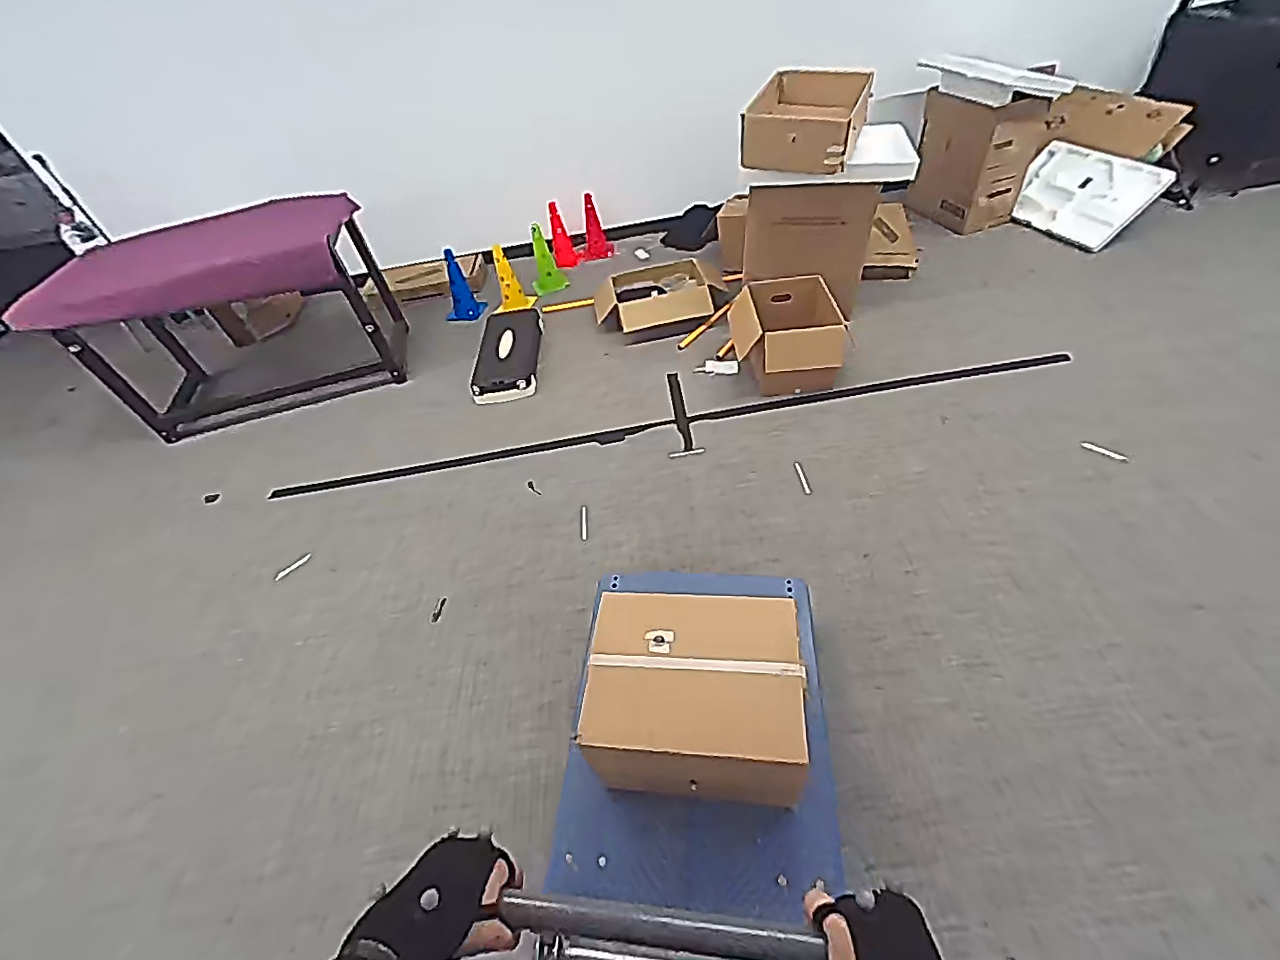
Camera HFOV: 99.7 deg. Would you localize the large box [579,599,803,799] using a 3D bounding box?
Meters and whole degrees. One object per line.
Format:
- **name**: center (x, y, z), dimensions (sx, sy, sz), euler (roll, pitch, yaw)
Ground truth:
- **large box**: center (0.121, 0.469, 1.160), dimensions (0.408, 0.320, 0.320), euler (-1, 46, 11)
